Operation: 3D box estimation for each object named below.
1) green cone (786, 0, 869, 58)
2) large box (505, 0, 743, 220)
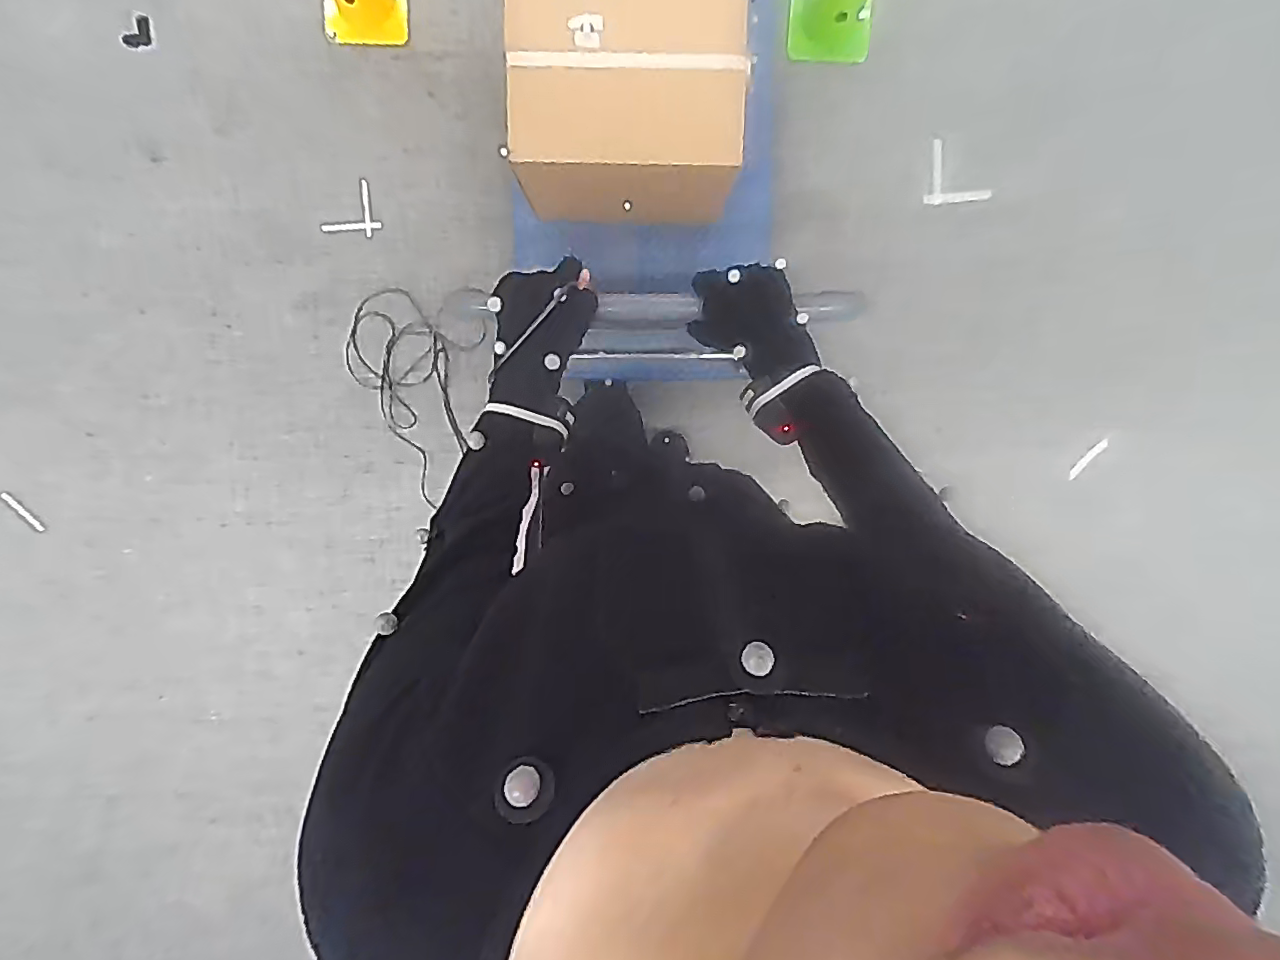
[{"bbox_3d":[0.467,-1.125,1.157,0.202,0.368,0.200,1,97,-2],"label":"green cone"},{"bbox_3d":[-0.025,-0.716,1.058,0.408,0.320,0.320,1,97,0],"label":"large box"}]
